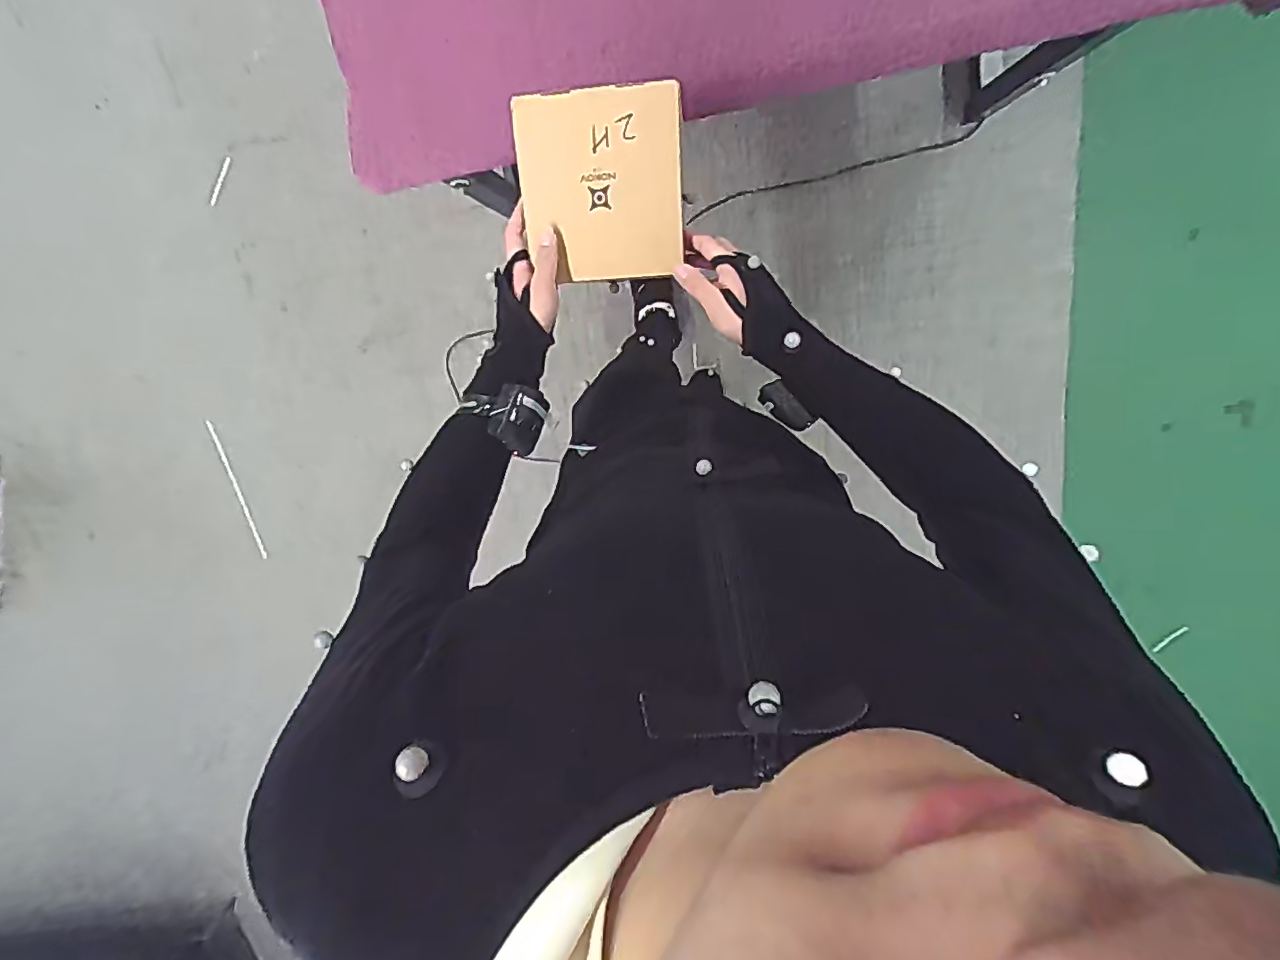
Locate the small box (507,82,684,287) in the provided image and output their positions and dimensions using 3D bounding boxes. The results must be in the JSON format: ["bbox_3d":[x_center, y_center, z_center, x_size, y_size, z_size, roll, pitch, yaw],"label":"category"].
[{"bbox_3d":[-0.036,-0.319,0.617,0.168,0.176,0.179,-1,110,6],"label":"small box"}]
